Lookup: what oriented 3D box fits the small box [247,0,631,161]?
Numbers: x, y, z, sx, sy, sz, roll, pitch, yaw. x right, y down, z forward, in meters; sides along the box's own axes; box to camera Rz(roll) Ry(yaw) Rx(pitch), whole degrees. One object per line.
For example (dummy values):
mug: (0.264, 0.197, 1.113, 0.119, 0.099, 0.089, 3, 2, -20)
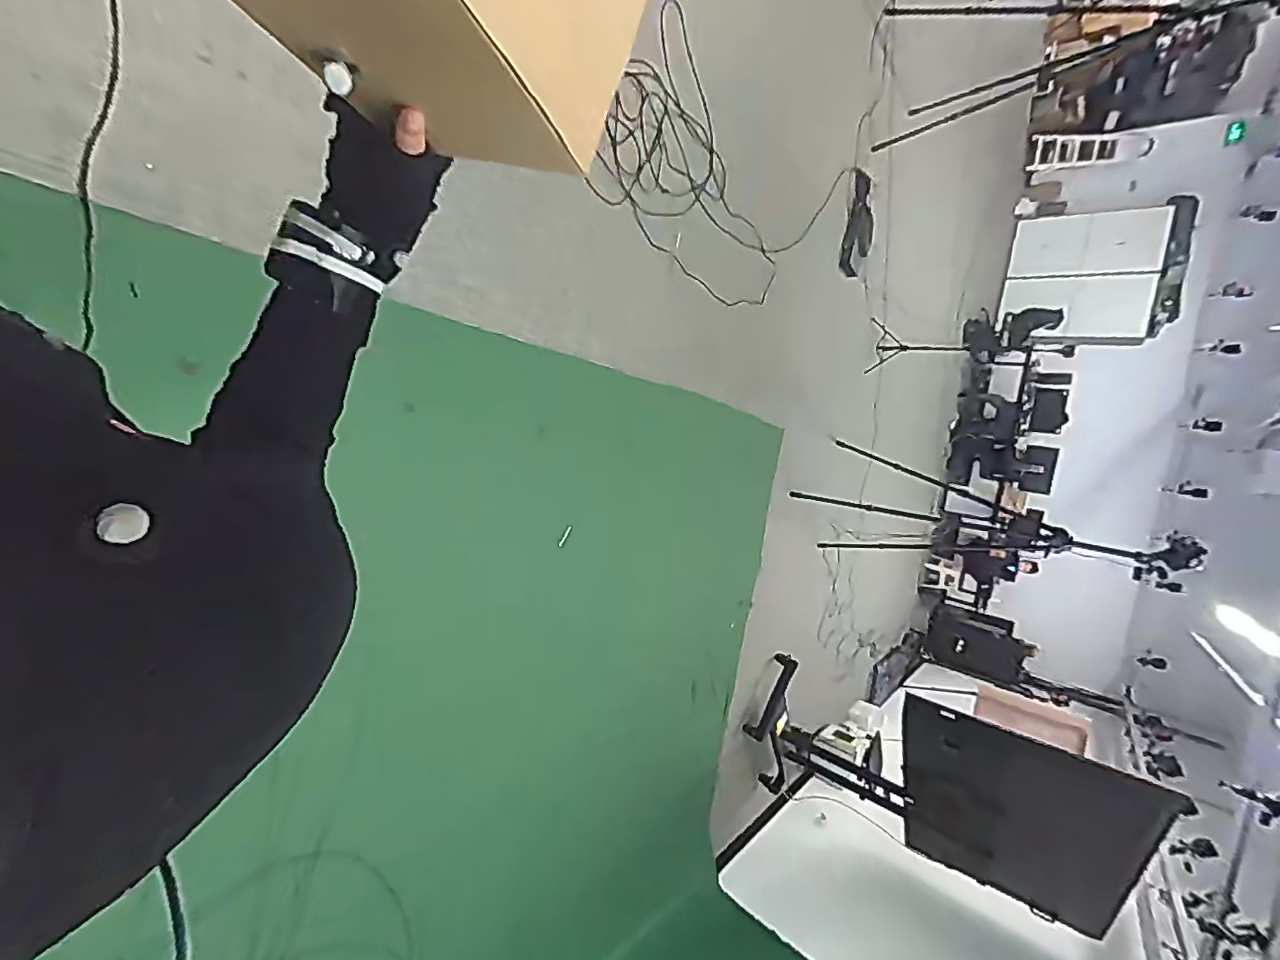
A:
small box: (-0.112, -0.311, 0.286, 0.168, 0.176, 0.179, -71, 162, 3)
